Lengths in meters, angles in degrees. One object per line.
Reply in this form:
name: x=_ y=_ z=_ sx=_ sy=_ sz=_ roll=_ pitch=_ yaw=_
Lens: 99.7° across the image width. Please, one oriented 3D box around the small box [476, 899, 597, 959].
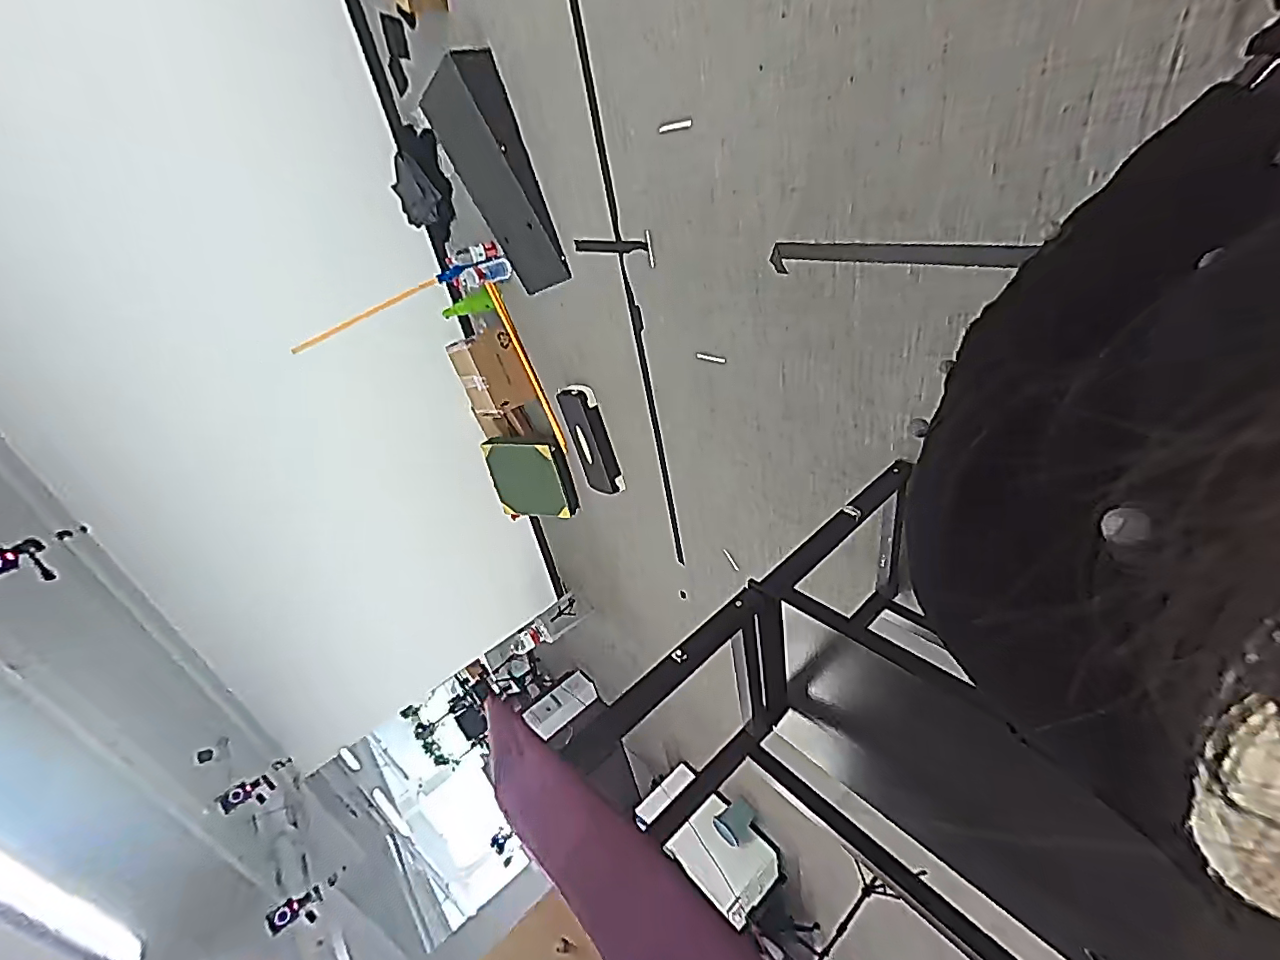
small box: x=-0.157 y=0.866 z=0.919 sx=0.179 sy=0.176 sz=0.168 roll=27 pitch=139 yaw=44
